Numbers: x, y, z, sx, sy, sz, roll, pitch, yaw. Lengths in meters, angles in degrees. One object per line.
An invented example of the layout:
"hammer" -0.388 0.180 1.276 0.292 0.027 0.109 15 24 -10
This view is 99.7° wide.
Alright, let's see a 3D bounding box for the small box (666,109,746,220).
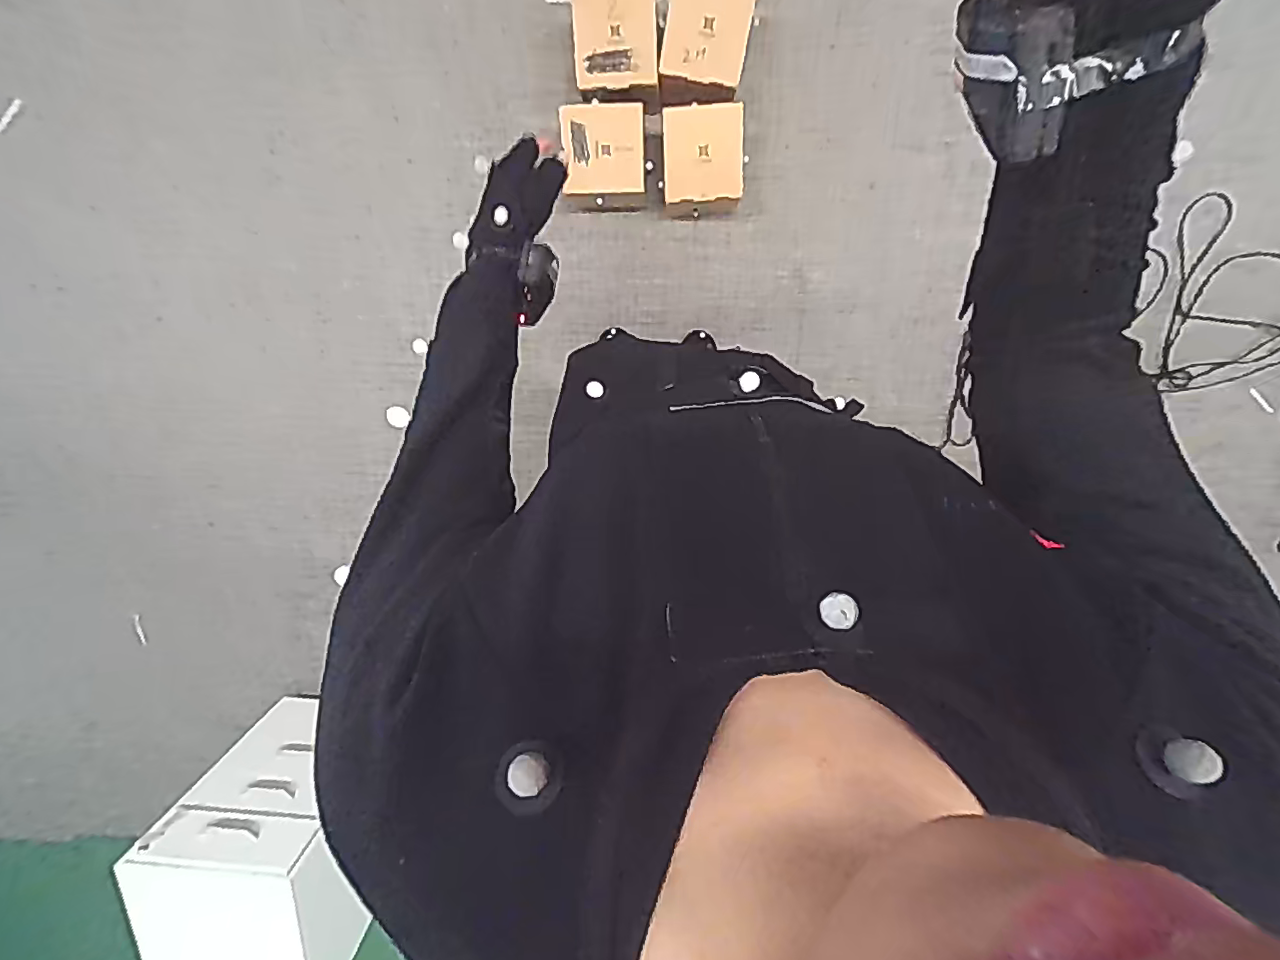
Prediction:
"small box" 0.141 -0.690 1.199 0.168 0.176 0.179 -2 107 4
